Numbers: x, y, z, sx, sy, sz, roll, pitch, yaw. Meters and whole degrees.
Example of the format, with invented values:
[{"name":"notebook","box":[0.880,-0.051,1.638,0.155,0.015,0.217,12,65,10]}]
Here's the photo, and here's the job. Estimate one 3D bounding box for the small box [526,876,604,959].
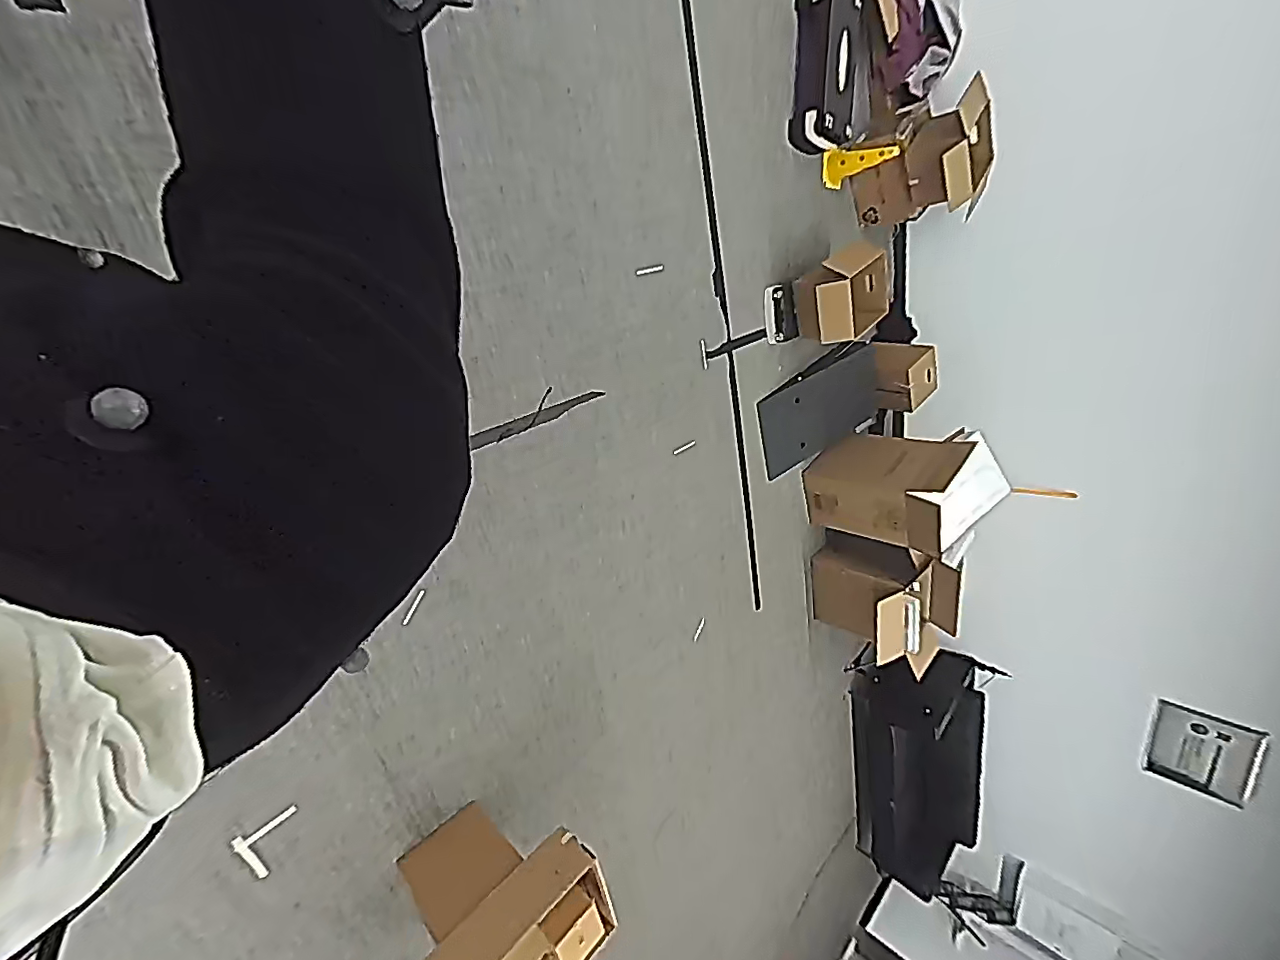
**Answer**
[{"name":"small box","box":[-0.246,1.463,1.776,0.168,0.176,0.179,-31,120,-37]}]
